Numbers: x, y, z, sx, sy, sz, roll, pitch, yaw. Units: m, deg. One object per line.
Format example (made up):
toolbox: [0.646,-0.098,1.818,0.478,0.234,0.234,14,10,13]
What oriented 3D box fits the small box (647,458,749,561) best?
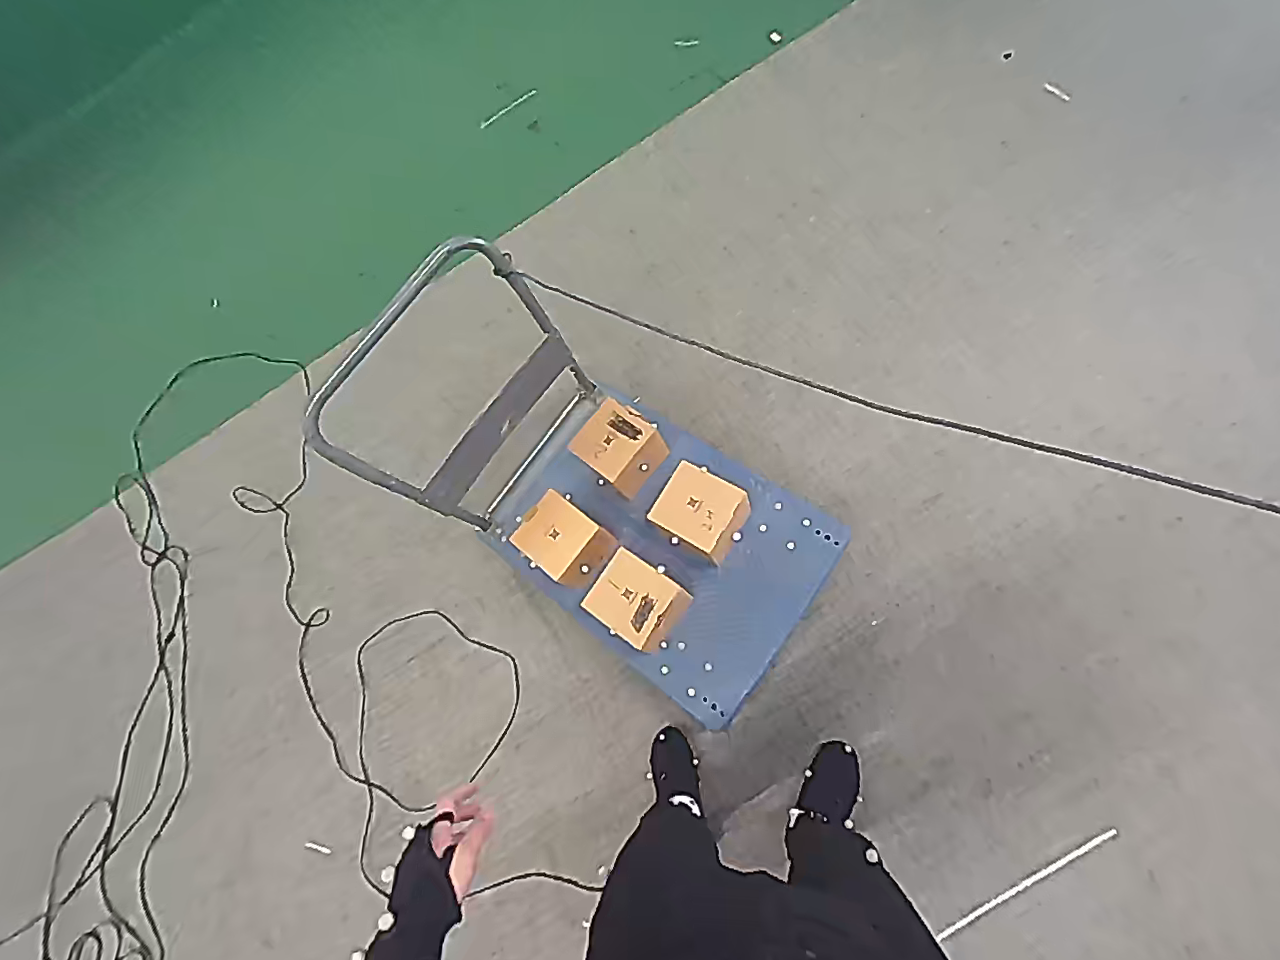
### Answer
small box: [0.147,0.078,1.308,0.179,0.176,0.168,30,81,22]

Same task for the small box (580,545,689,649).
small box: [-0.004,0.281,1.275,0.179,0.176,0.168,32,81,24]

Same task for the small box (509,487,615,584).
small box: [-0.189,0.148,1.375,0.179,0.176,0.168,36,83,24]
